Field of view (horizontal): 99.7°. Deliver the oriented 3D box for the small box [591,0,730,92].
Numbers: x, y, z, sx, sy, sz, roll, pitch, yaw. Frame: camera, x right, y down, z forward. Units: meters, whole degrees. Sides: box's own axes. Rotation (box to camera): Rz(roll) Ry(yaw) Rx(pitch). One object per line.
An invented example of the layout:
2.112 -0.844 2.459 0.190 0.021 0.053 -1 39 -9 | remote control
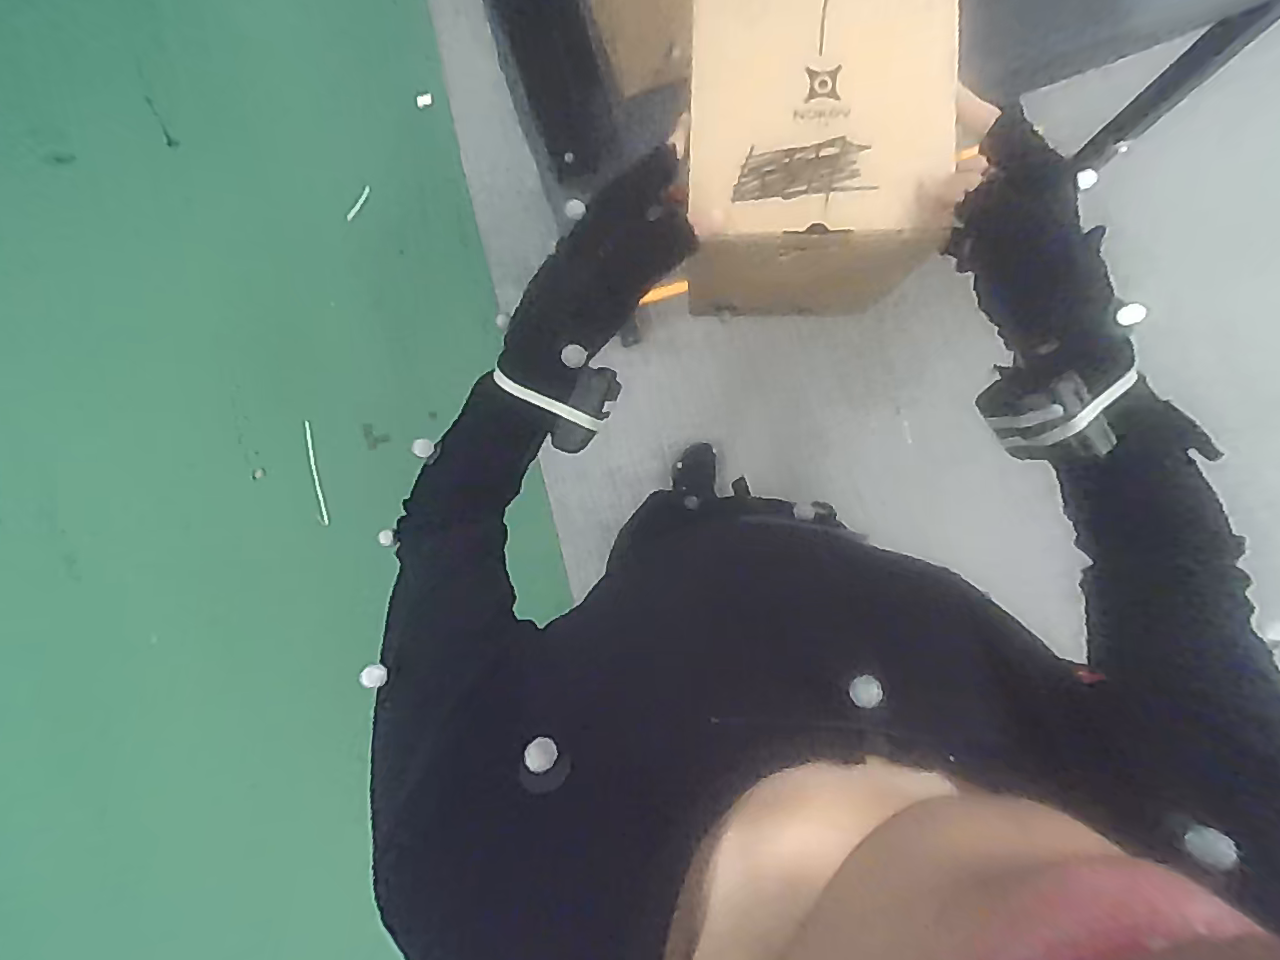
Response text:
0.018 -0.683 0.727 0.168 0.176 0.179 -18 84 4 | small box
